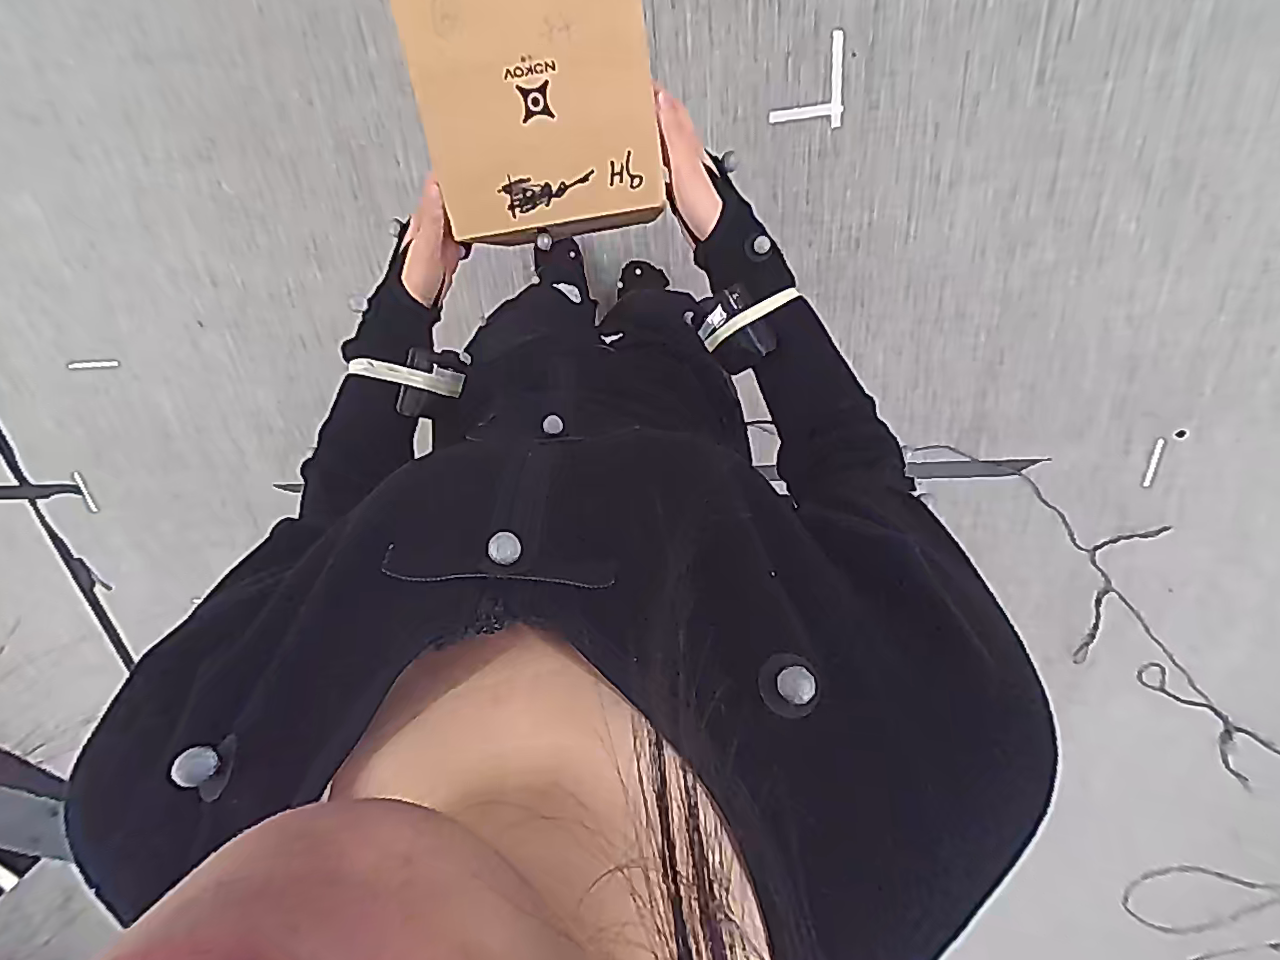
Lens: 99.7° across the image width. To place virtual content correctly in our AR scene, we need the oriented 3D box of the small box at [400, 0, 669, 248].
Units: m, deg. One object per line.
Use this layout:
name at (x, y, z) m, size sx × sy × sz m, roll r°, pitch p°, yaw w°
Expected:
small box at (-0.073, -0.300, 0.449) m, size 0.168 × 0.176 × 0.179 m, roll -9°, pitch 112°, yaw 2°

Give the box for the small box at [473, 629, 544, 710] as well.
small box at (-0.426, 0.613, 1.769) m, size 0.179 × 0.176 × 0.168 m, roll 13°, pitch 113°, yaw -3°
